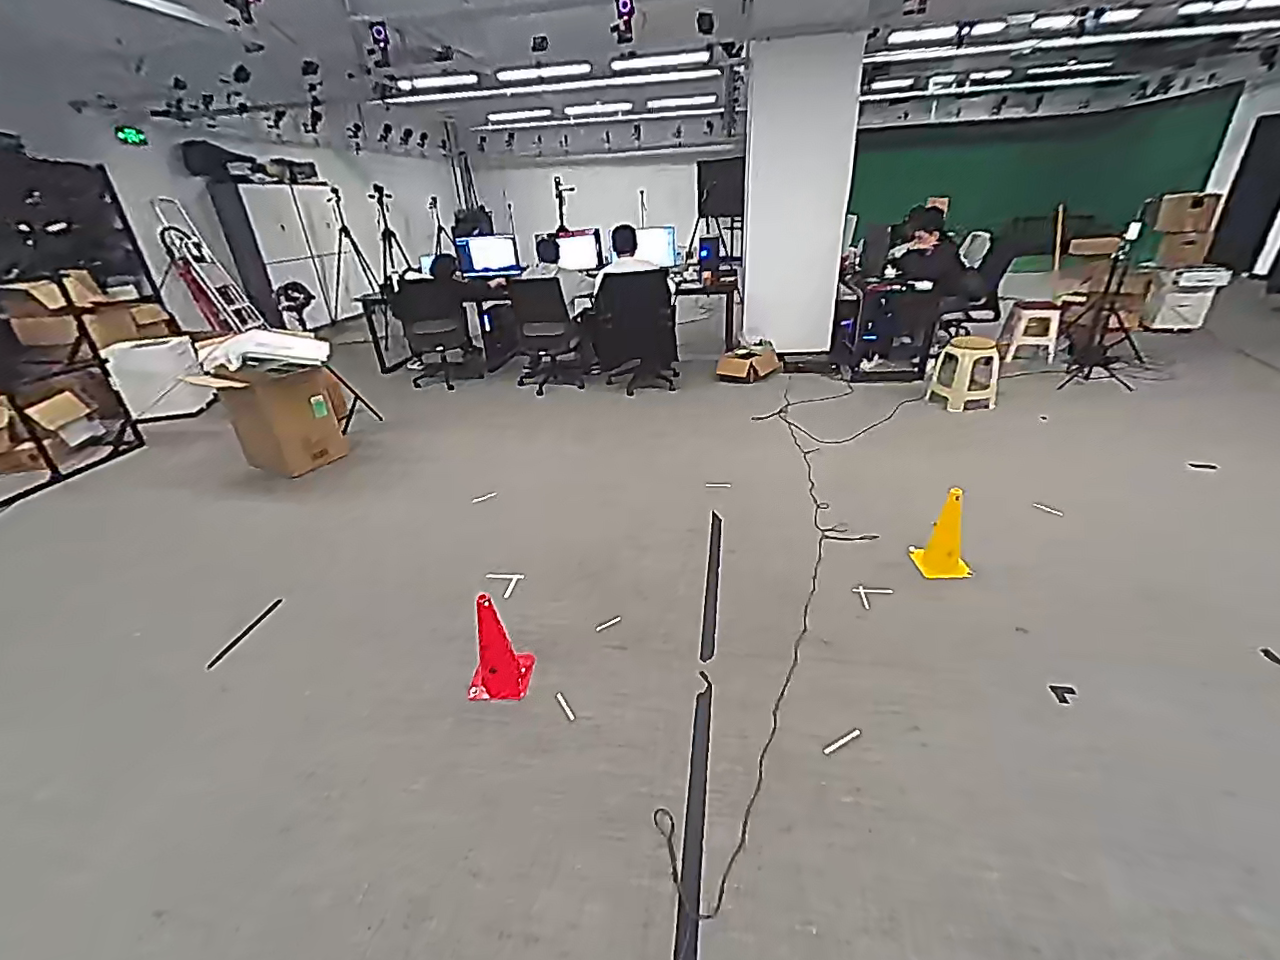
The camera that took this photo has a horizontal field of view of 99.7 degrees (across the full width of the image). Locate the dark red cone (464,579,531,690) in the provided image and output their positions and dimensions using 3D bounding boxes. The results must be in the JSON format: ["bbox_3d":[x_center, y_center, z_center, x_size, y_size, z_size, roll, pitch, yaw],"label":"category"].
[{"bbox_3d":[-0.492,0.498,1.785,0.201,0.394,0.202,-1,27,2],"label":"dark red cone"}]
